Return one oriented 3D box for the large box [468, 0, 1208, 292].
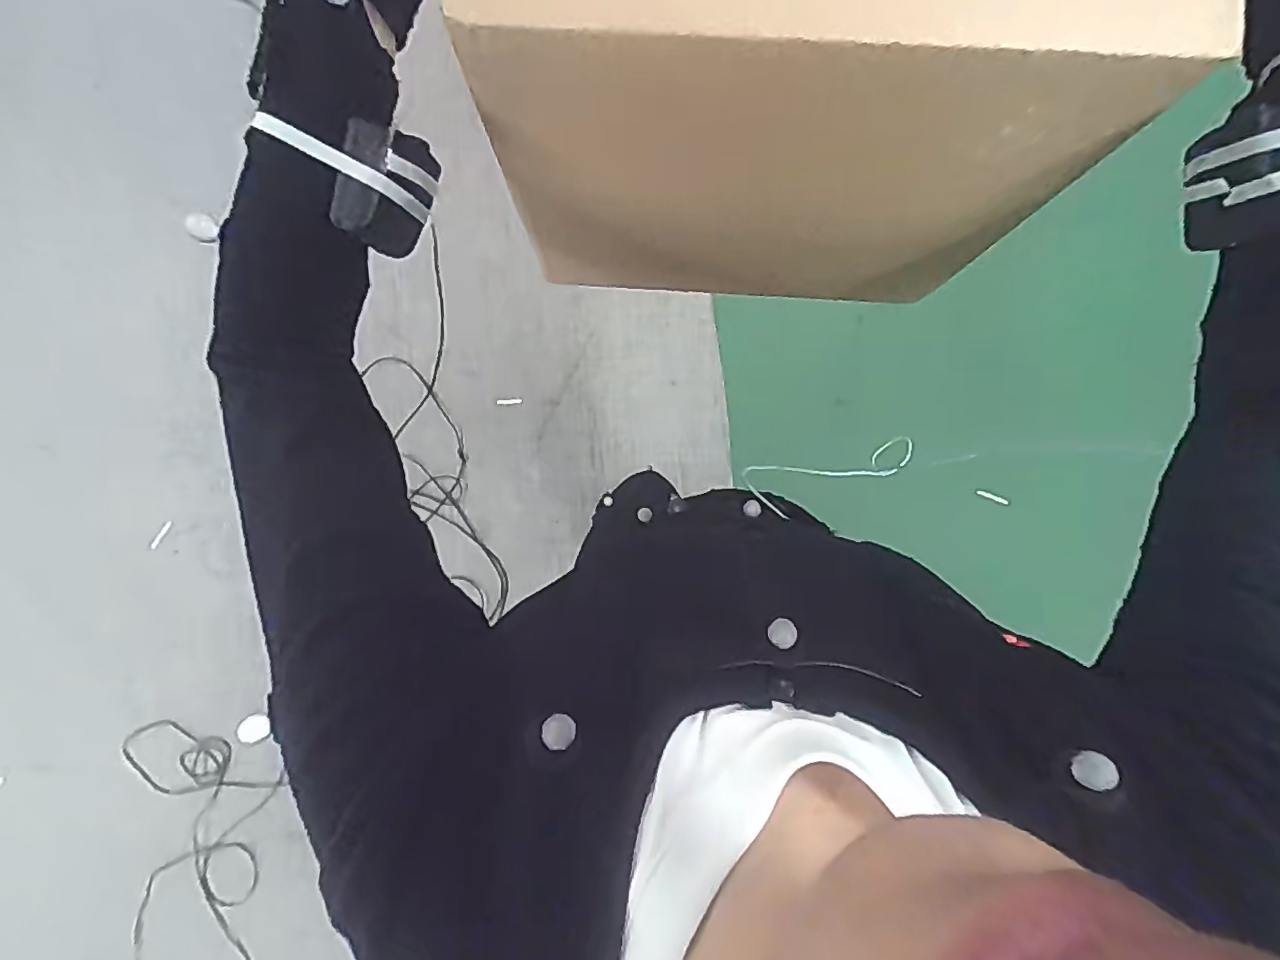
[{"bbox_3d":[0.108,-0.372,0.447,0.408,0.320,0.320,3,86,-1],"label":"large box"}]
